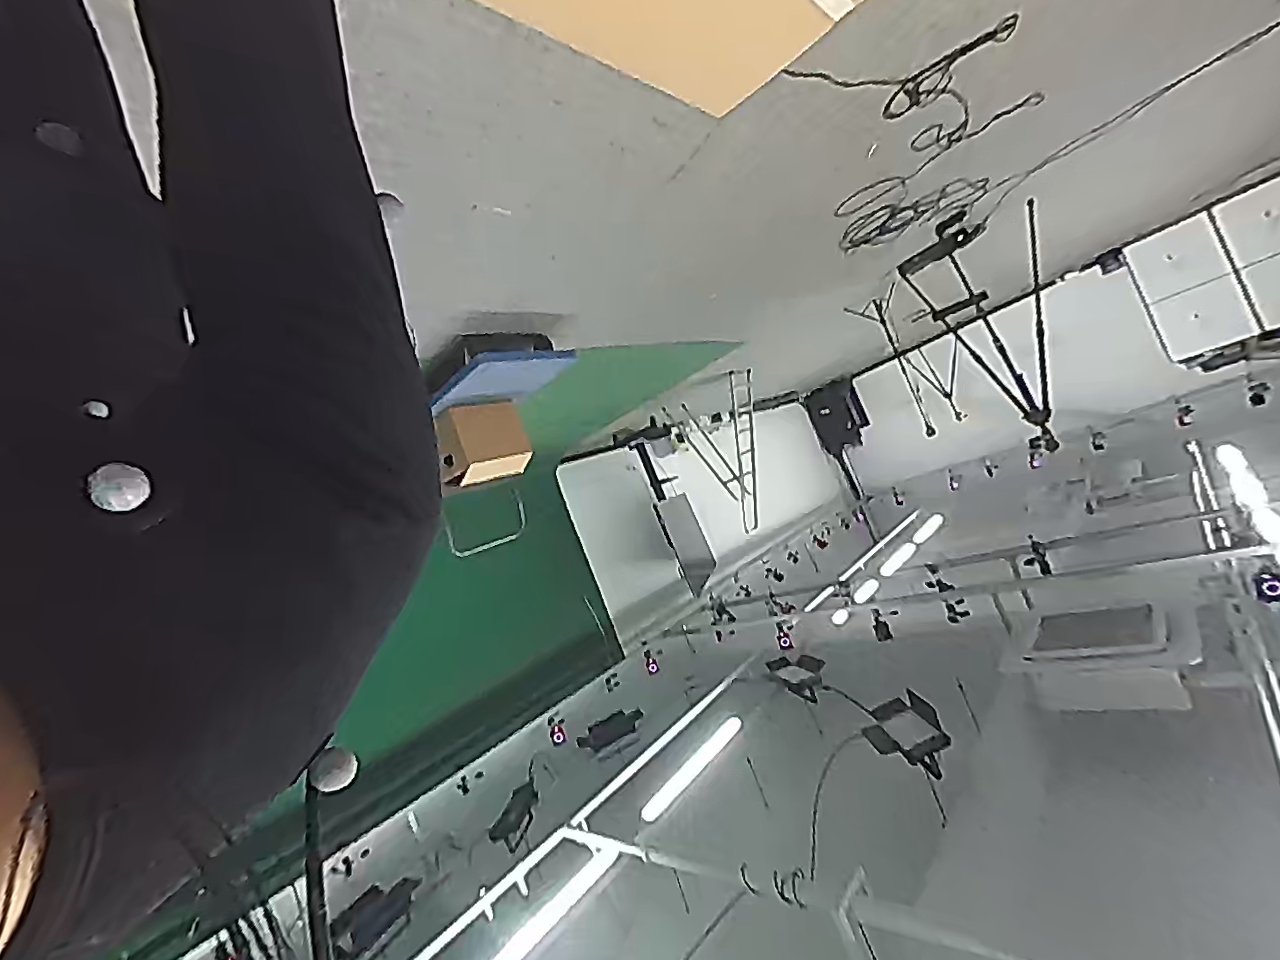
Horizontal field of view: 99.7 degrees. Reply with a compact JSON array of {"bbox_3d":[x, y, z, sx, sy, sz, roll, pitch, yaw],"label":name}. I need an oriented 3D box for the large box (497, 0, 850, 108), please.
[{"bbox_3d":[0.020,-0.555,0.370,0.320,0.320,0.408,-18,179,44],"label":"large box"}]
